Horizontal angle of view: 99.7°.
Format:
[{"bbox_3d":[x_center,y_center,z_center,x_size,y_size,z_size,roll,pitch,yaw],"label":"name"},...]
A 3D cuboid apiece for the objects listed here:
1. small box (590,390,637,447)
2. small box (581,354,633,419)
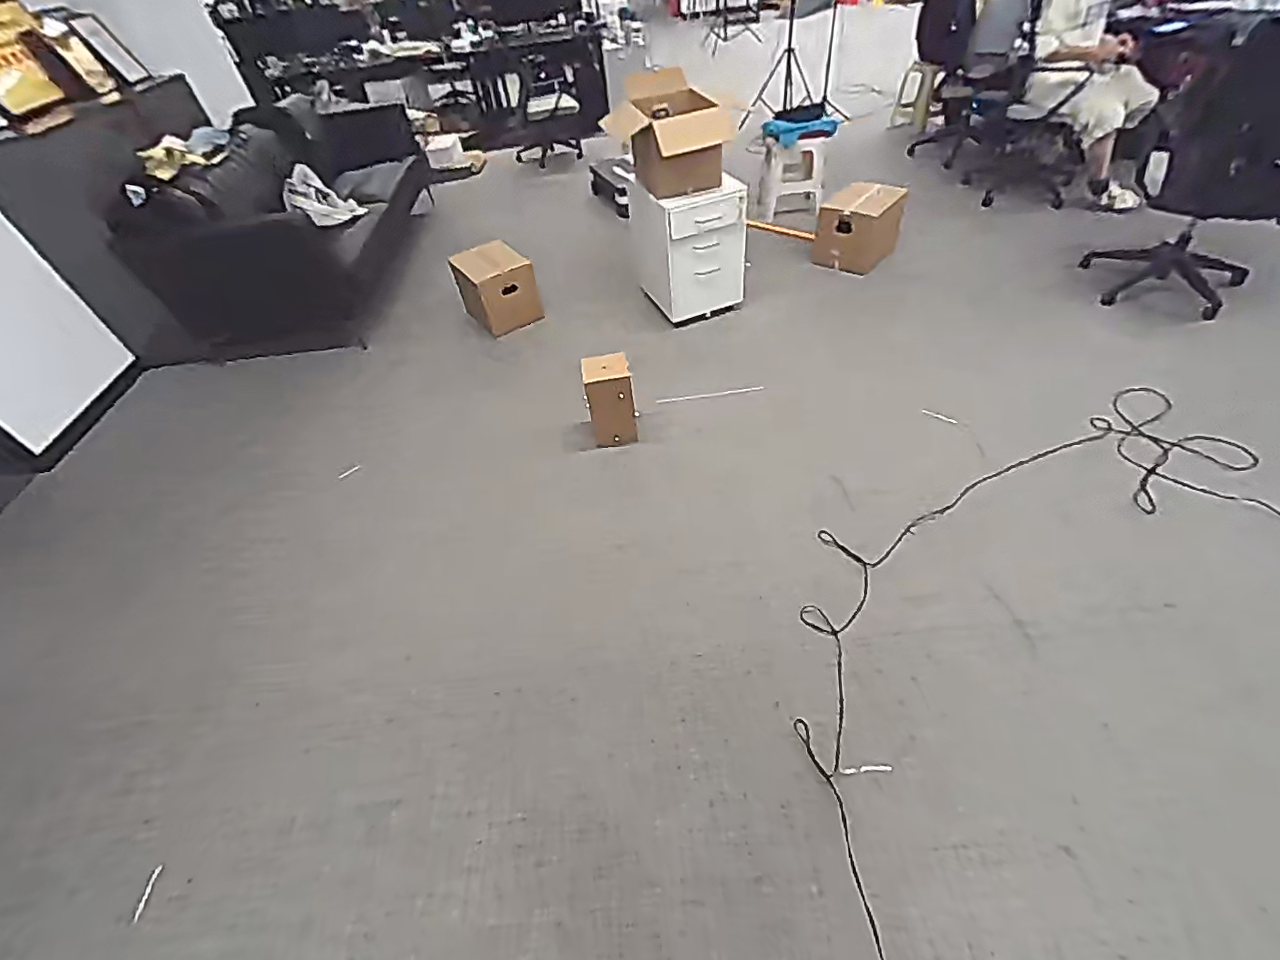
[{"bbox_3d":[-0.108,-0.257,2.218,0.179,0.176,0.168,-8,46,1],"label":"small box"},{"bbox_3d":[-0.125,-0.361,2.092,0.179,0.176,0.168,-11,45,0],"label":"small box"}]
